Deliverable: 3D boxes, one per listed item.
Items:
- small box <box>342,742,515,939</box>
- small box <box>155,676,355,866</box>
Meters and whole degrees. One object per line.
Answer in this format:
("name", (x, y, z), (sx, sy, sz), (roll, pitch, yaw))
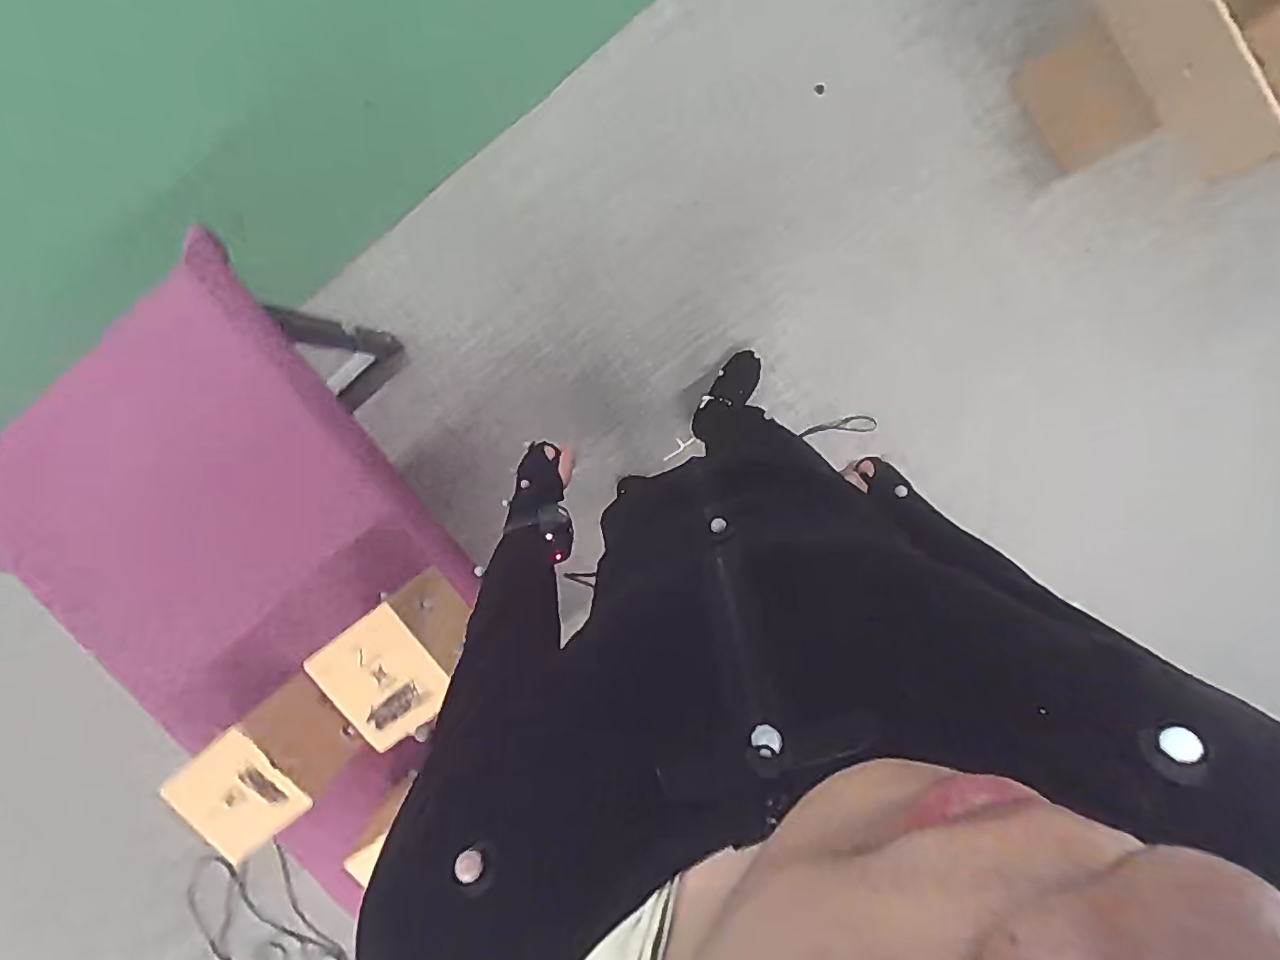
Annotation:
("small box", (-0.335, 0.583, 0.894), (0.179, 0.176, 0.168), (-37, 98, 6))
("small box", (-0.603, 0.459, 0.881), (0.179, 0.176, 0.168), (-39, 96, 6))
